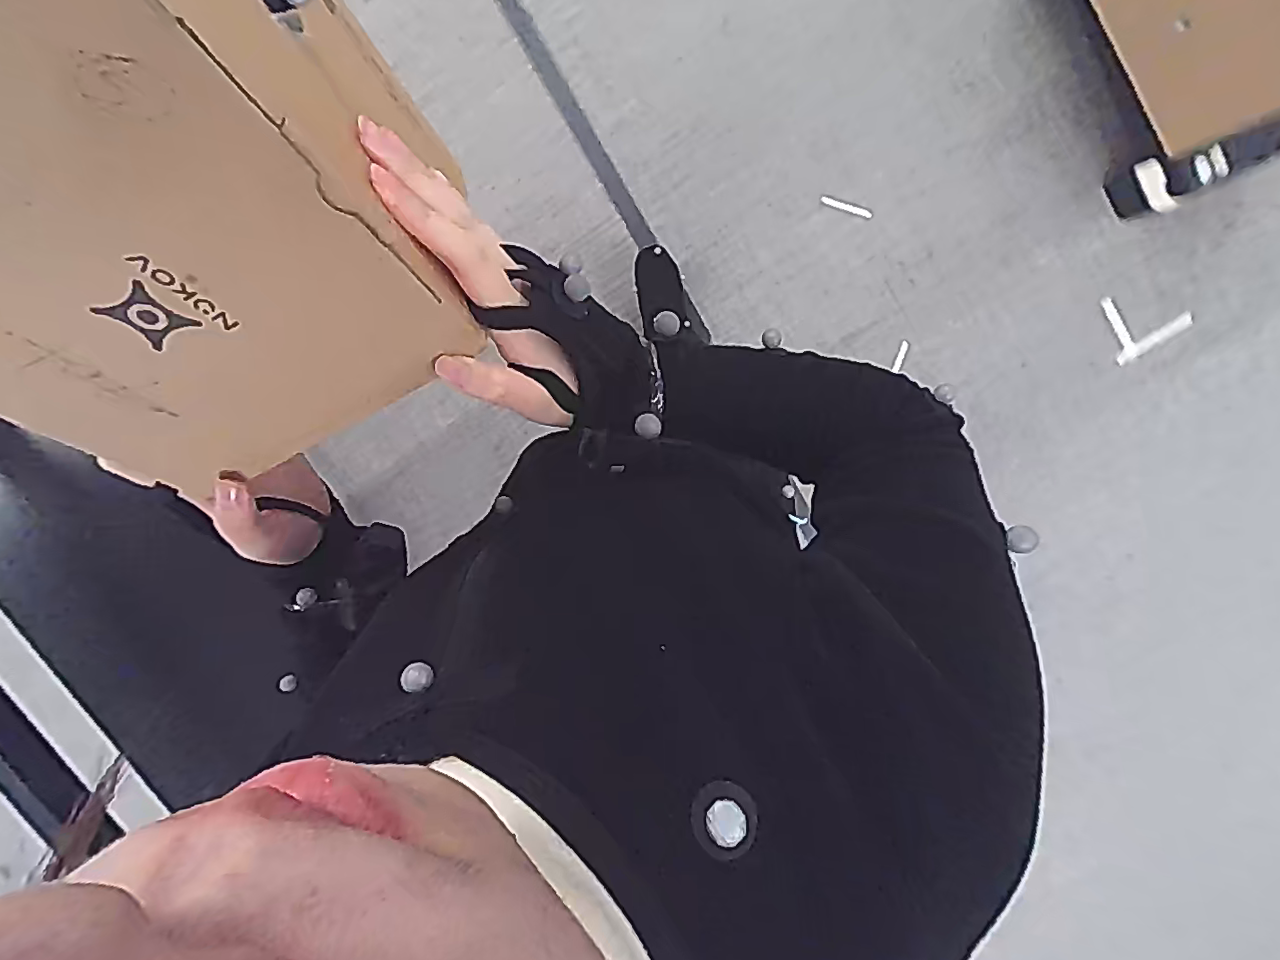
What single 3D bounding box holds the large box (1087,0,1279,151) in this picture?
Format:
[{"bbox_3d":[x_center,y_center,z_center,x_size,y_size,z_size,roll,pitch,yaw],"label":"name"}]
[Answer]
[{"bbox_3d":[1.016,-0.839,0.847,0.320,0.320,0.408,-34,96,11],"label":"large box"}]
